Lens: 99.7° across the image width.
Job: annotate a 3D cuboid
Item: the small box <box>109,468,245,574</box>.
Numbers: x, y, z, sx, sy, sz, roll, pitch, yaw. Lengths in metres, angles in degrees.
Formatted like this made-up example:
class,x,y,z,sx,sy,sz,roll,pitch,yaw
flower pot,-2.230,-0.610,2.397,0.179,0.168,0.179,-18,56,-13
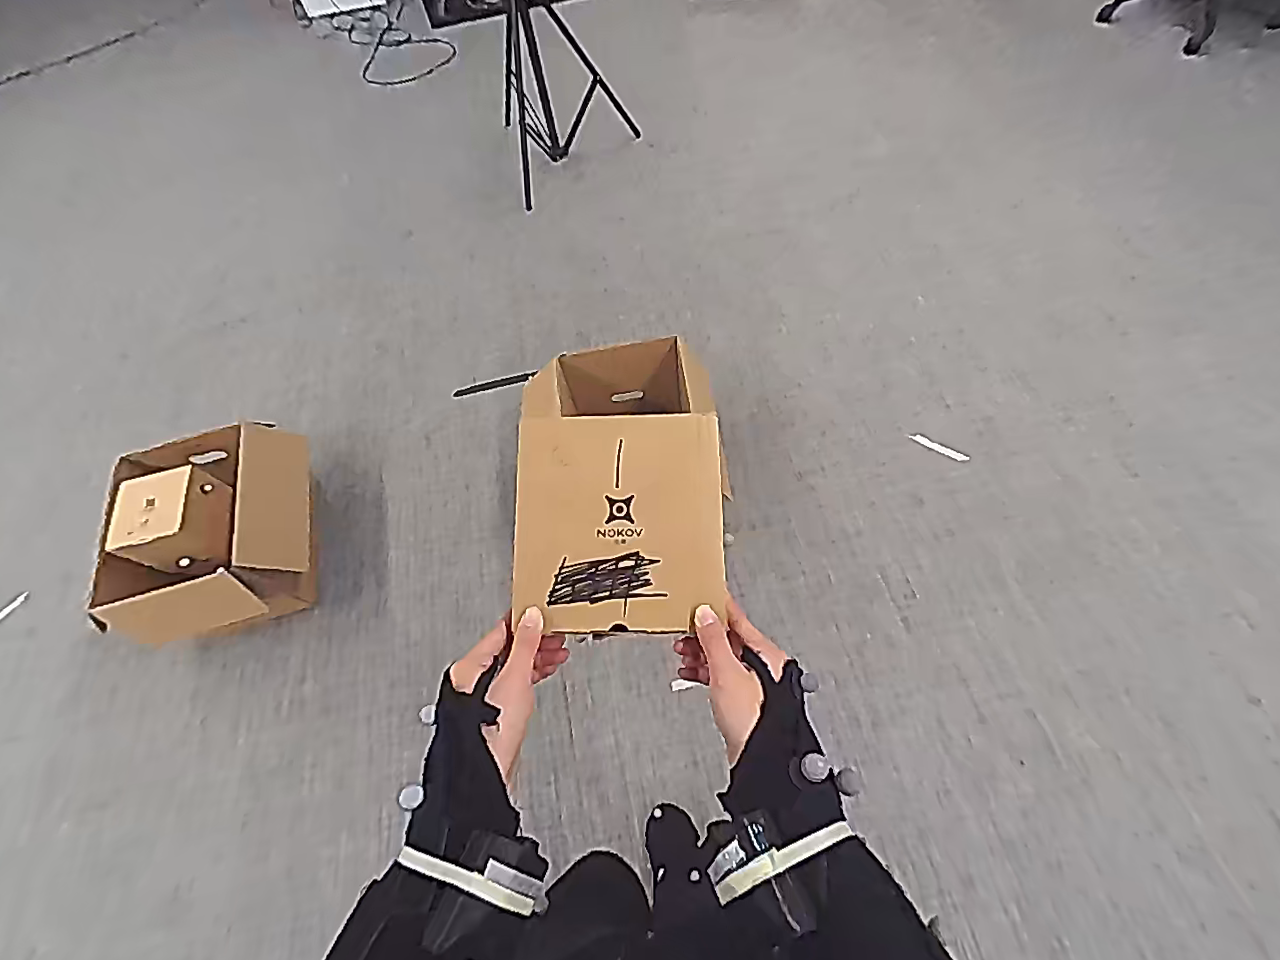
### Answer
class,x,y,z,sx,sy,sz,roll,pitch,yaw
small box,-1.074,0.101,1.273,0.168,0.176,0.179,-15,63,-1

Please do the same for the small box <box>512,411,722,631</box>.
class,x,y,z,sx,sy,sz,roll,pitch,yaw
small box,-0.014,0.047,0.507,0.168,0.176,0.179,-1,76,2
